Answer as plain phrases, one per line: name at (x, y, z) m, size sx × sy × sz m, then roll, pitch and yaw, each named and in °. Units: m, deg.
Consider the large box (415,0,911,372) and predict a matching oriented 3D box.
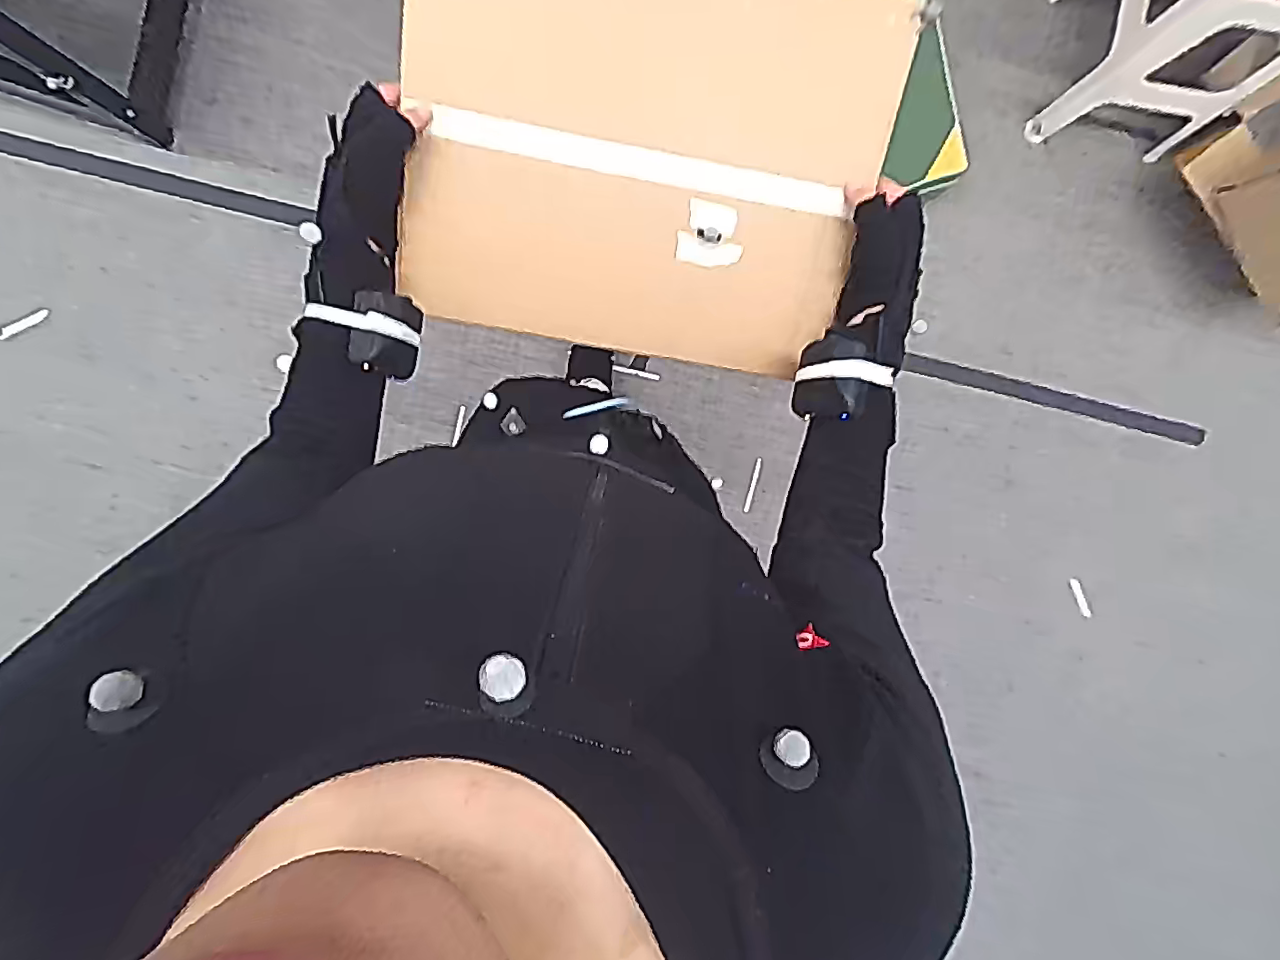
large box at (-0.001, -0.323, 0.616) m, size 0.408 × 0.320 × 0.320 m, roll 9°, pitch 108°, yaw -6°
